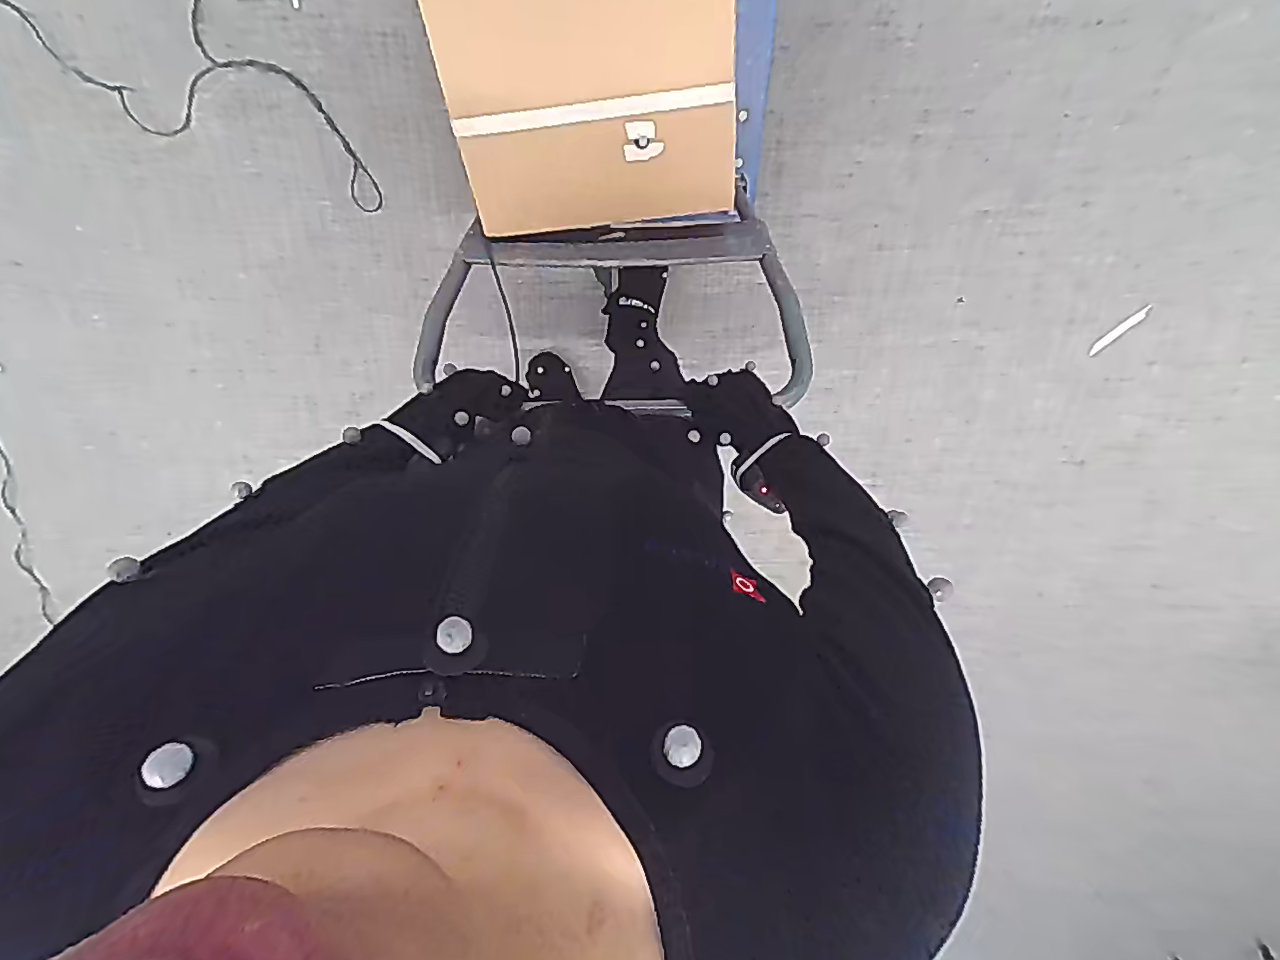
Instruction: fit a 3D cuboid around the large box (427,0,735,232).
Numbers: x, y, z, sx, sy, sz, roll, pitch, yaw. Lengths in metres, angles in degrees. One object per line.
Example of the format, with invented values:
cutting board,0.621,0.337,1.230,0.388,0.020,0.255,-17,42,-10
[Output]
large box,-0.070,-0.640,0.889,0.408,0.320,0.320,-6,133,3
